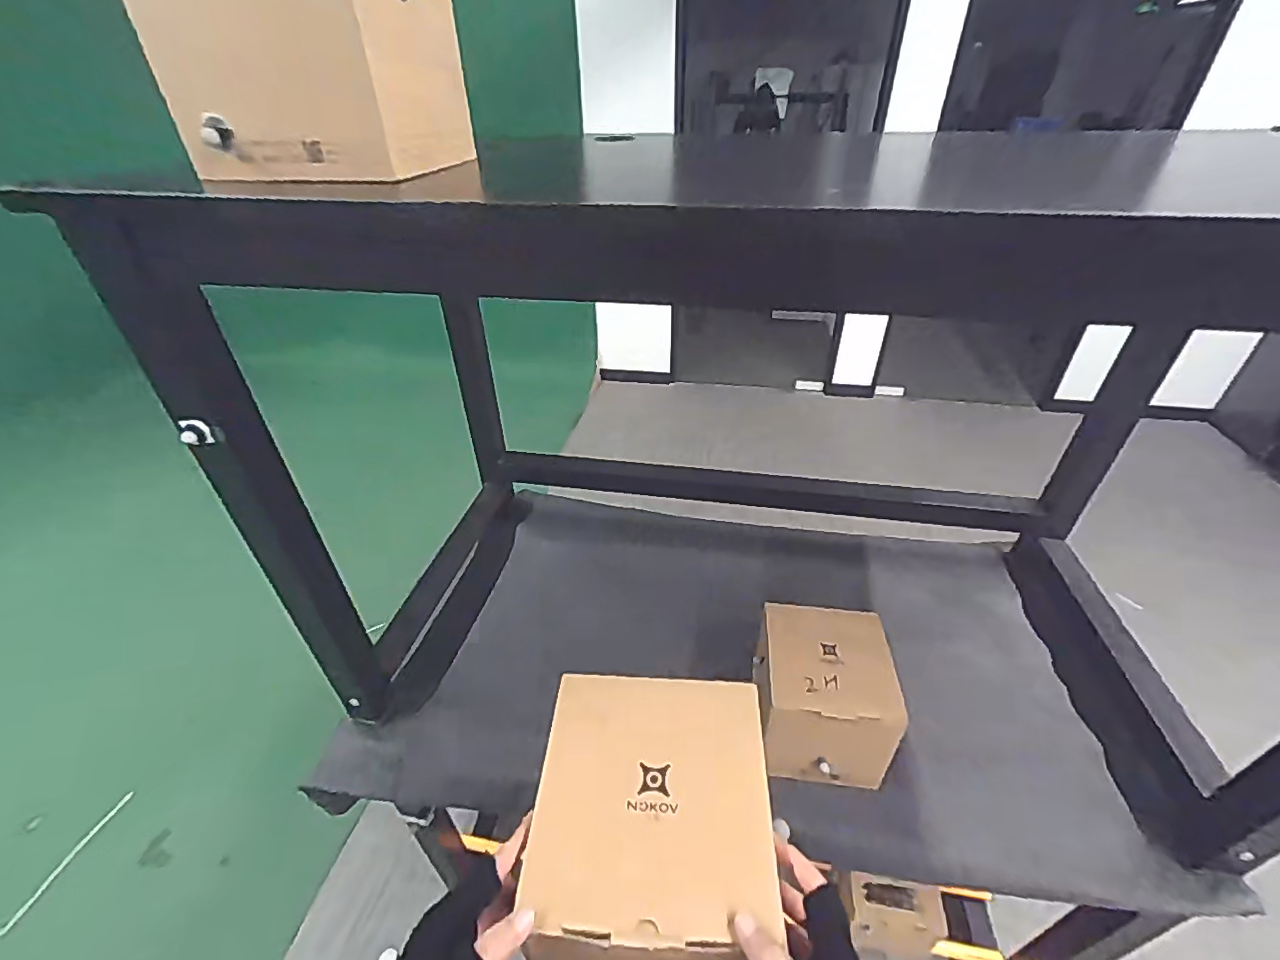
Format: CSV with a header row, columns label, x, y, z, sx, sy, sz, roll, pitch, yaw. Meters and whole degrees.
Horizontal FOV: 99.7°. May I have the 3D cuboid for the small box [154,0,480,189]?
label,x,y,z,sx,sy,sz,roll,pitch,yaw
small box,-0.247,-0.345,0.449,0.168,0.176,0.179,3,35,5

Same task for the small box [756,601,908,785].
label,x,y,z,sx,sy,sz,roll,pitch,yaw
small box,0.262,0.305,0.785,0.168,0.176,0.179,4,35,7
